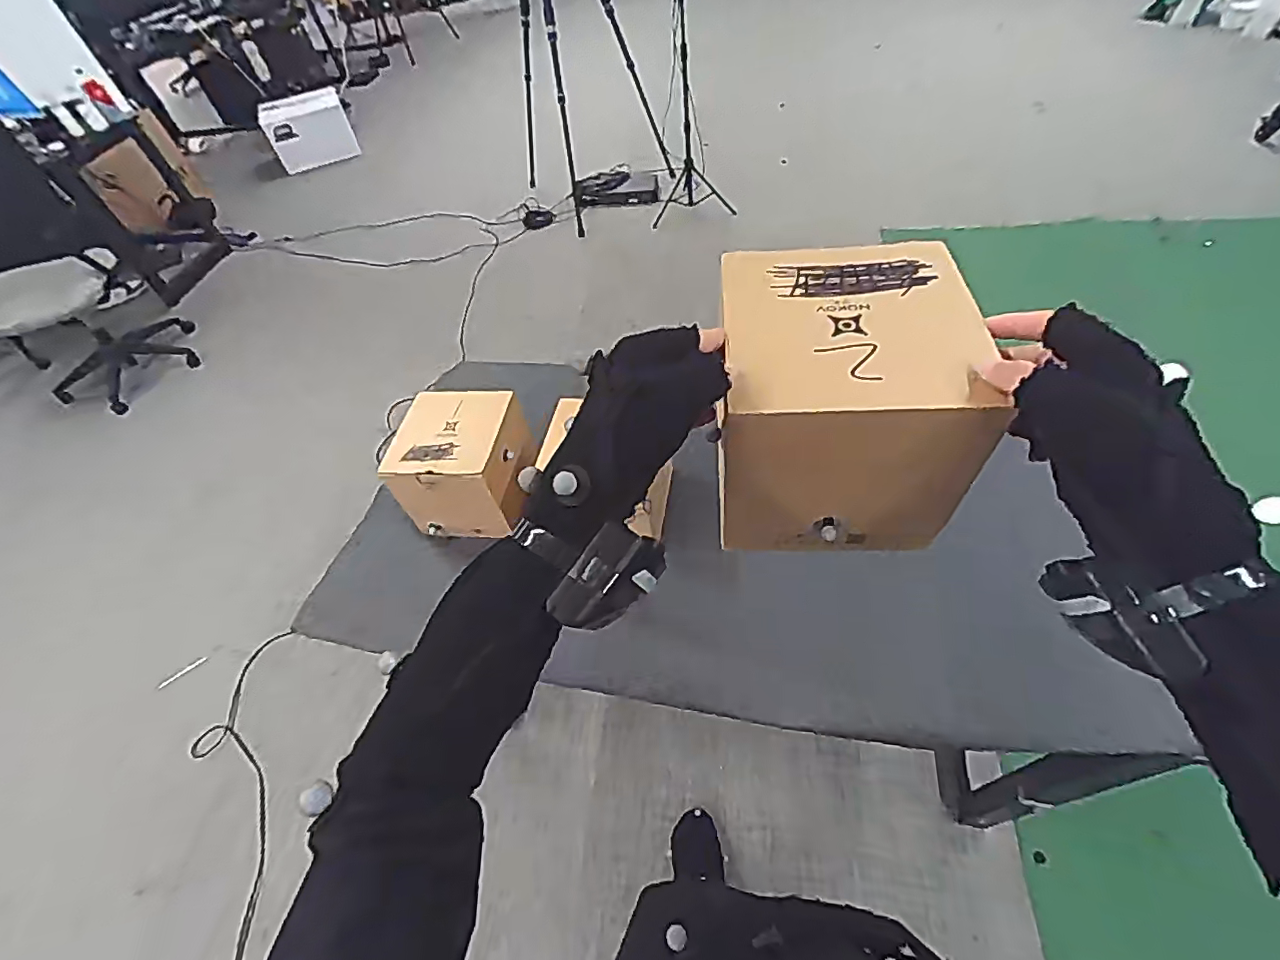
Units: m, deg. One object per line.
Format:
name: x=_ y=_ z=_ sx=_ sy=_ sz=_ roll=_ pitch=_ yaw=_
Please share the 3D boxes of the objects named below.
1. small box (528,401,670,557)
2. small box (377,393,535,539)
small box: x=-0.049 y=0.000 z=0.826 sx=0.168 sy=0.176 sz=0.179 roll=3 pitch=51 yaw=11
small box: x=-0.280 y=-0.019 z=0.875 sx=0.168 sy=0.176 sz=0.179 roll=1 pitch=51 yaw=9
